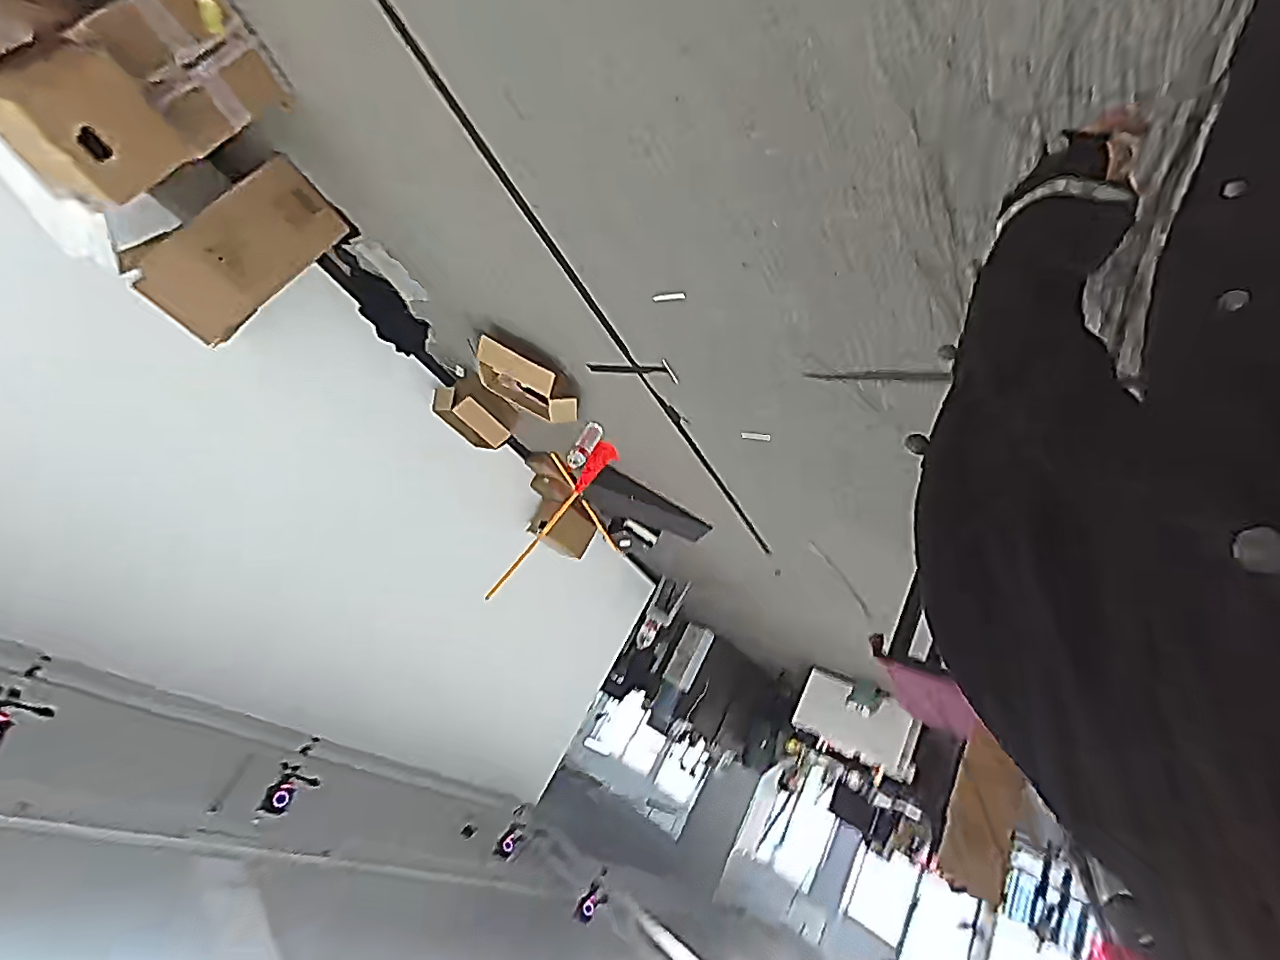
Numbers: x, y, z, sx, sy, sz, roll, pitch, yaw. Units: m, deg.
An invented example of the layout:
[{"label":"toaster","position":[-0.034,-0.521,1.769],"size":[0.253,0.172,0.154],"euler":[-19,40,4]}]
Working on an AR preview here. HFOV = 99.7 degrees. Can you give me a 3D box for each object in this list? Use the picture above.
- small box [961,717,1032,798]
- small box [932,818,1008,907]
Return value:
[{"label":"small box","position":[1.178,0.916,1.790],"size":[0.168,0.176,0.179],"euler":[14,154,37]},{"label":"small box","position":[1.019,1.175,1.672],"size":[0.168,0.176,0.179],"euler":[17,157,36]}]
